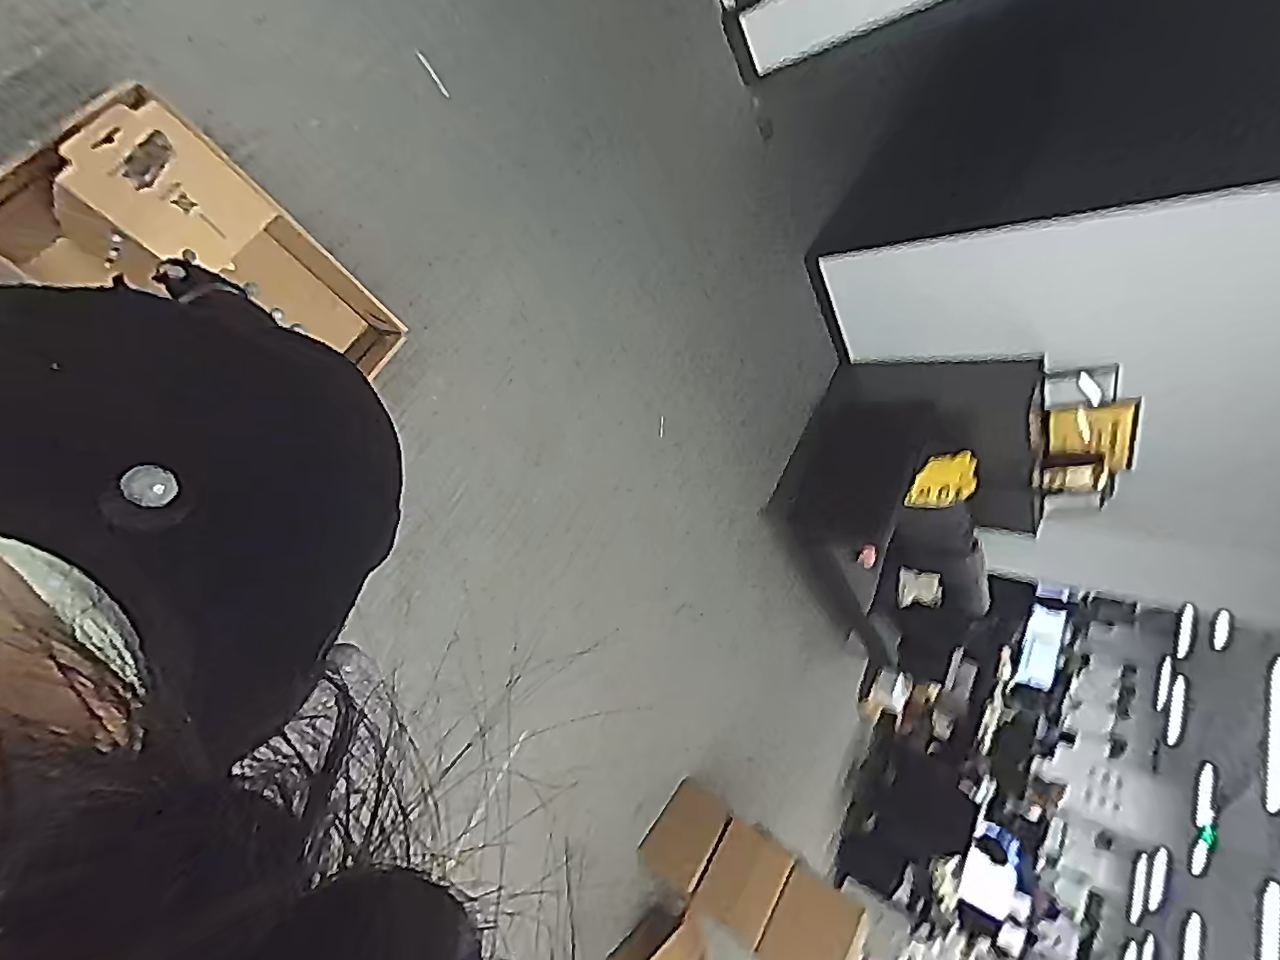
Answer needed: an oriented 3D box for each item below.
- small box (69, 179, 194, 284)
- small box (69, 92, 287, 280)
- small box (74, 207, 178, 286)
[{"bbox_3d":[-0.797,-0.452,0.911,0.168,0.176,0.179,-58,135,-17],"label":"small box"},{"bbox_3d":[-0.680,-0.418,0.801,0.168,0.176,0.179,-58,135,-17],"label":"small box"},{"bbox_3d":[-0.907,-0.490,1.024,0.168,0.176,0.179,47,65,-43],"label":"small box"}]
